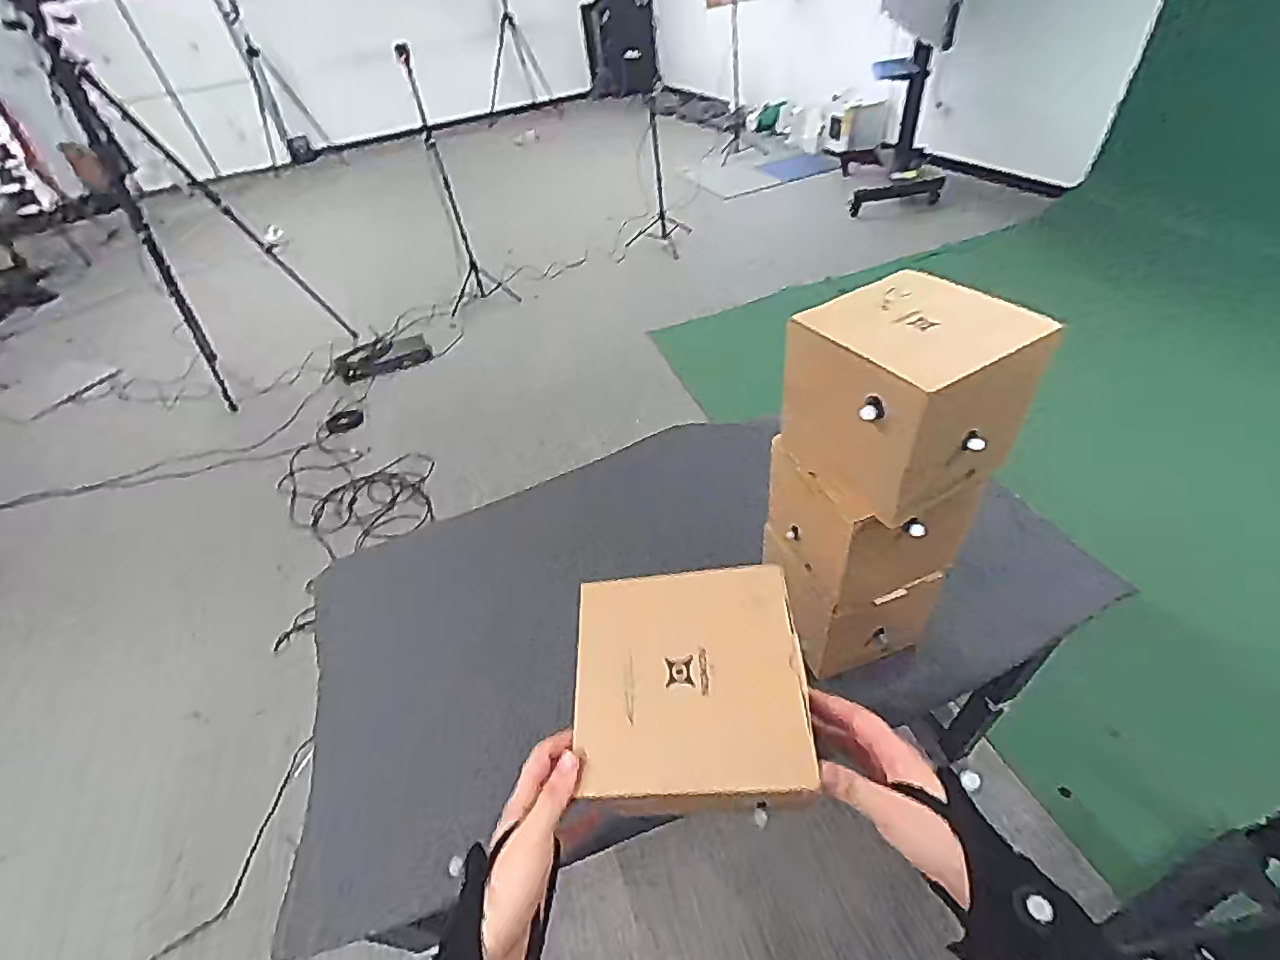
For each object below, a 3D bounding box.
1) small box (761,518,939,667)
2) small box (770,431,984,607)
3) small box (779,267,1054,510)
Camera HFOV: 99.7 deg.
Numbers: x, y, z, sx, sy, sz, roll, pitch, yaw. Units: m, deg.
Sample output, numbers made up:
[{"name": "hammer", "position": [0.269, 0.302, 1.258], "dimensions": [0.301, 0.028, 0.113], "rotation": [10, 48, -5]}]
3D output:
[{"name": "small box", "position": [0.289, 0.147, 0.786], "dimensions": [0.168, 0.176, 0.179], "rotation": [-19, 44, -8]}, {"name": "small box", "position": [0.276, 0.026, 0.677], "dimensions": [0.179, 0.176, 0.168], "rotation": [-20, 43, -9]}, {"name": "small box", "position": [0.263, -0.091, 0.561], "dimensions": [0.168, 0.176, 0.179], "rotation": [-26, 44, -15]}]
